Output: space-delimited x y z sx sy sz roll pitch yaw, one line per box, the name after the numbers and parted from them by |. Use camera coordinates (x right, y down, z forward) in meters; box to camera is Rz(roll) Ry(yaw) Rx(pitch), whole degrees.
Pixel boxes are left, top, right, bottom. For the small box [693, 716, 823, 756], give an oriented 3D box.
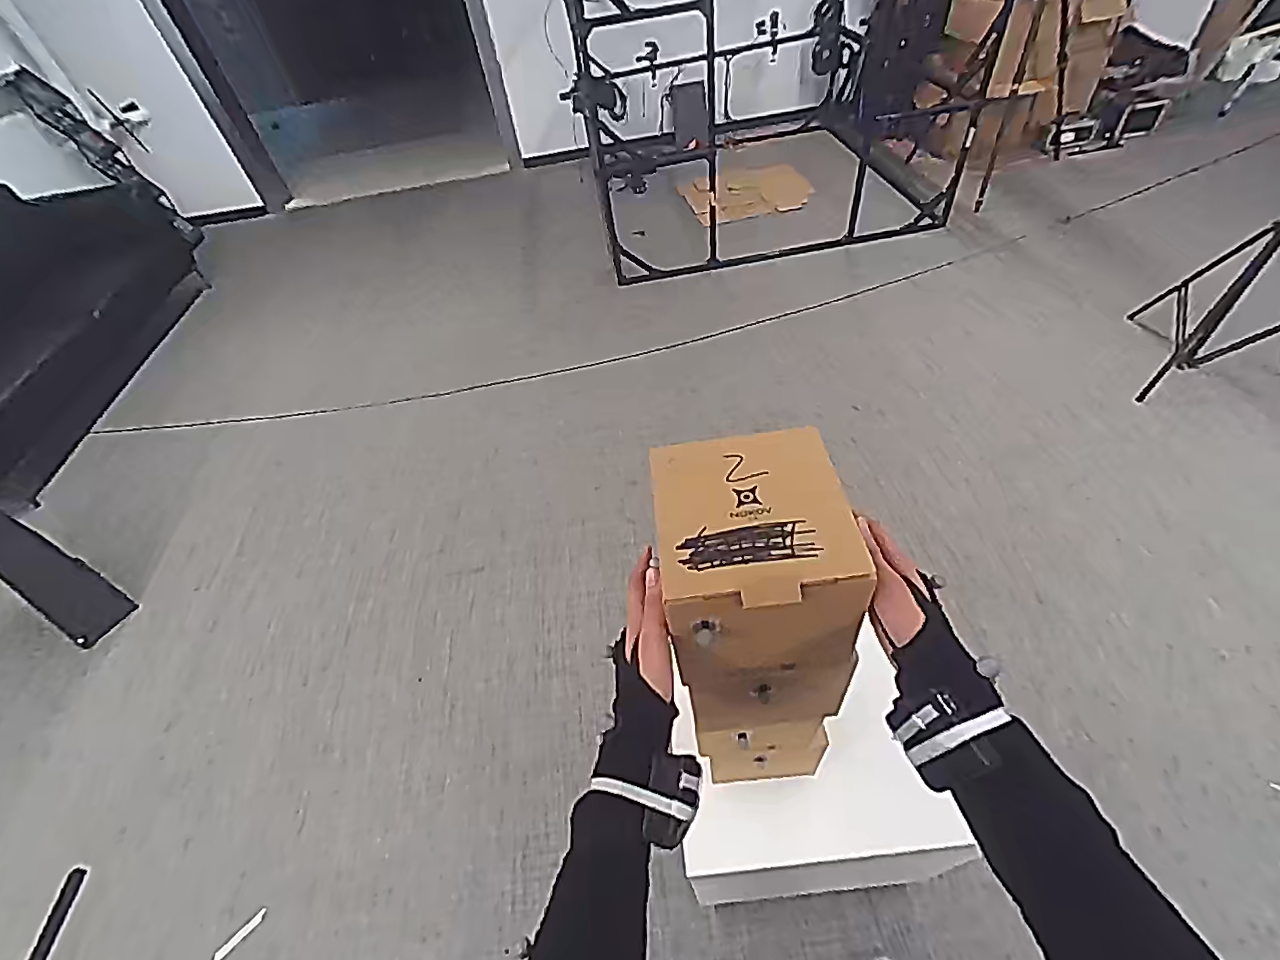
0.157 0.286 0.783 0.168 0.176 0.179 -6 47 4 | small box

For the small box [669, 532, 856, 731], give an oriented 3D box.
0.137 0.187 0.652 0.179 0.176 0.168 -8 48 2 | small box

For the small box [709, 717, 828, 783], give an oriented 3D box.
0.195 0.391 0.902 0.179 0.176 0.168 -6 48 2 | small box
